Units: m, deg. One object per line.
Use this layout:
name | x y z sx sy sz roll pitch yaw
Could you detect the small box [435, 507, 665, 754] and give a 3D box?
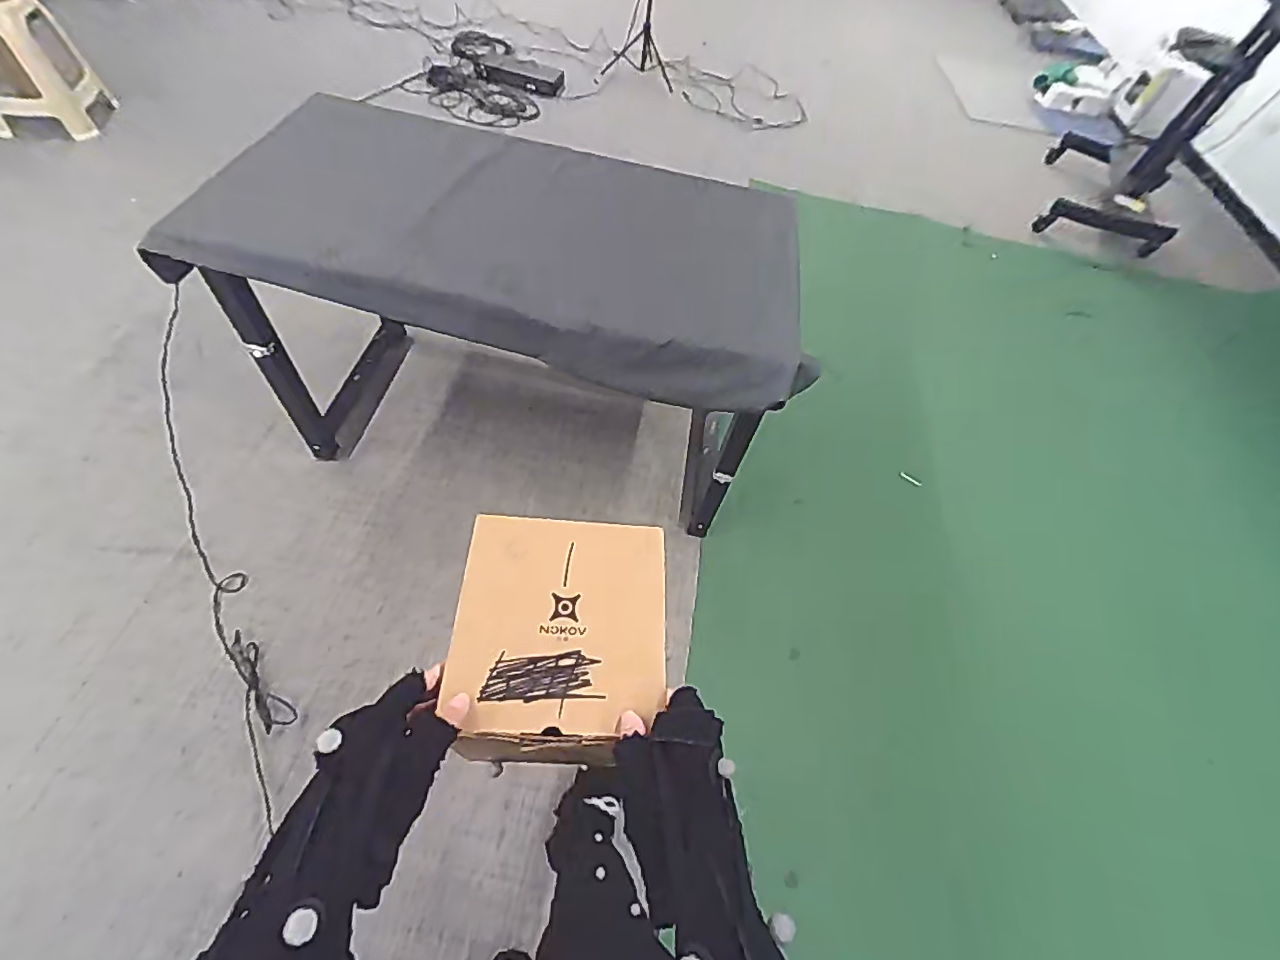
small box | -0.070 0.145 0.494 0.168 0.176 0.179 5 56 -6
